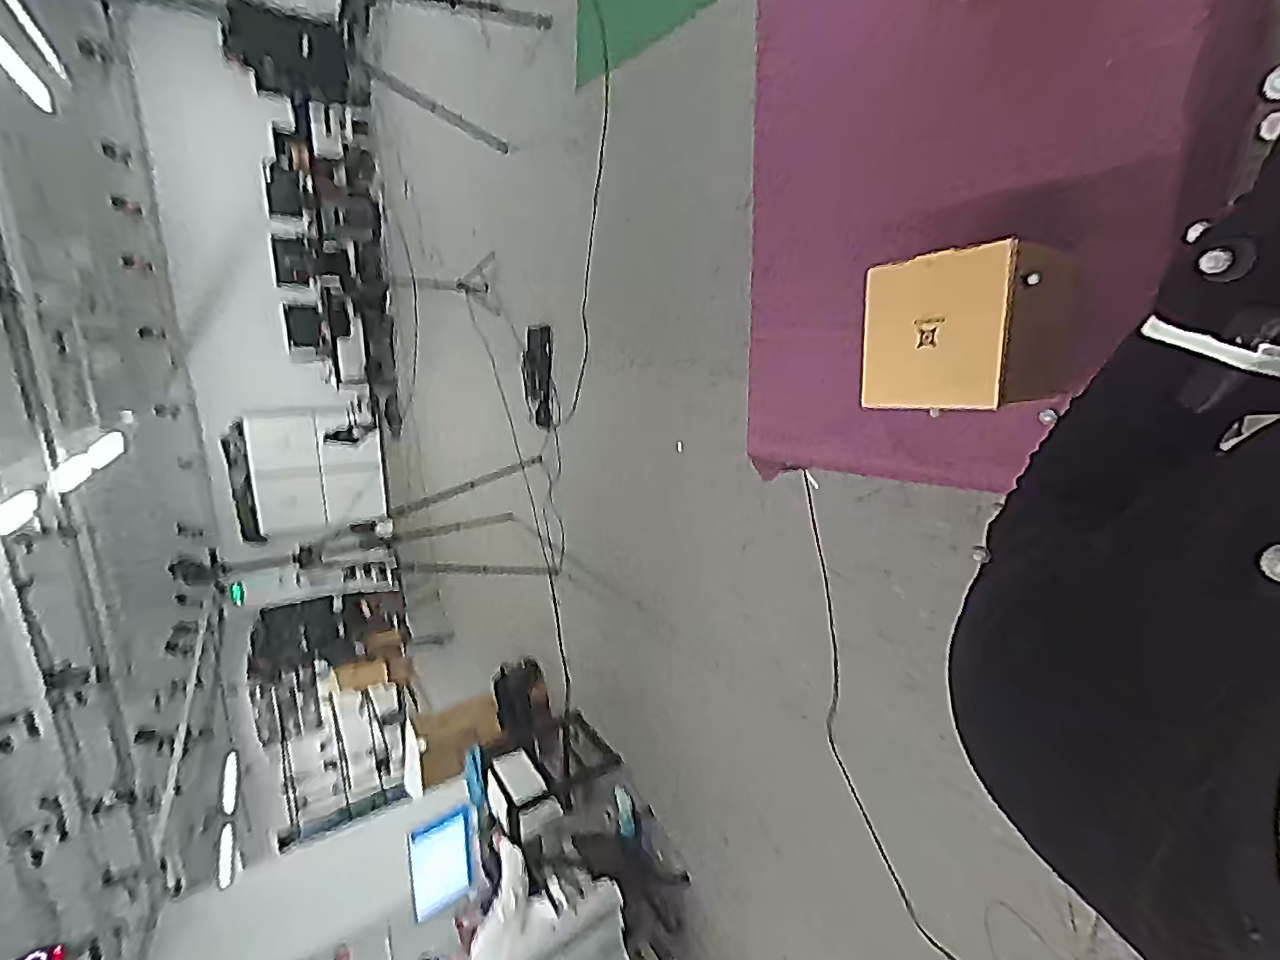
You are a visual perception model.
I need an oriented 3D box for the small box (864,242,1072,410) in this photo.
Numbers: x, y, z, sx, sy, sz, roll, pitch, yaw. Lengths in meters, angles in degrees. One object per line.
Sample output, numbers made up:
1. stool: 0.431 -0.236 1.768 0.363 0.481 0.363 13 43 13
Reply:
1. small box: 0.407 -0.181 0.678 0.168 0.176 0.179 13 106 56
